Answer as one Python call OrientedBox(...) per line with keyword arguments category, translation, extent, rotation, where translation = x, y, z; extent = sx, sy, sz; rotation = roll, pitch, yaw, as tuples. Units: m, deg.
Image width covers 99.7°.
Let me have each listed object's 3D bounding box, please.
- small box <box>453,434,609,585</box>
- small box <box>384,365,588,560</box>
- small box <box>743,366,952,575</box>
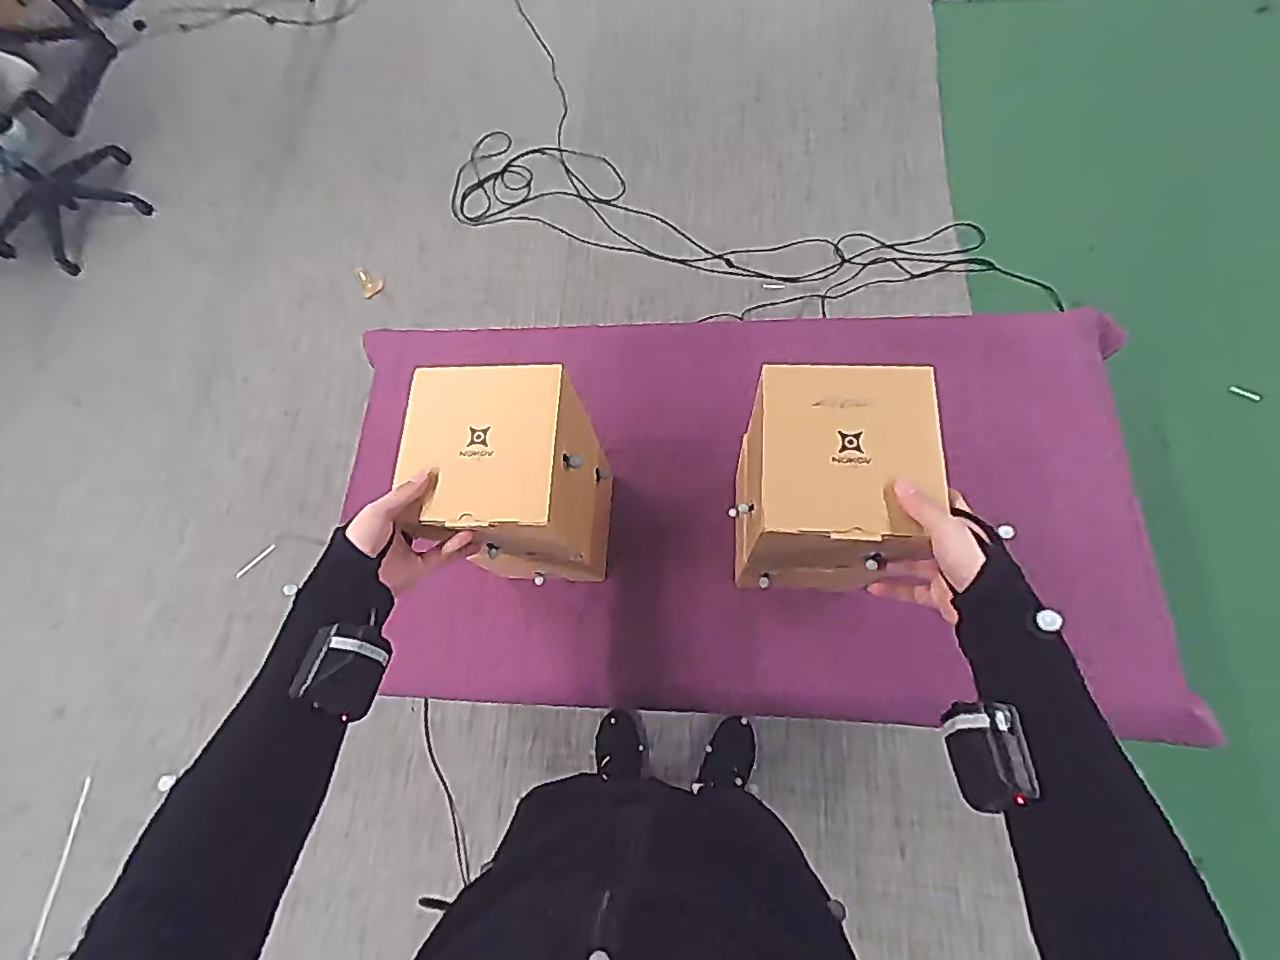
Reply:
OrientedBox(category="small box", translation=(-0.141, 0.045, 0.767), extent=(0.168, 0.176, 0.179), rotation=(2, 71, 7))
OrientedBox(category="small box", translation=(-0.156, -0.012, 0.616), extent=(0.168, 0.176, 0.179), rotation=(0, 72, 6))
OrientedBox(category="small box", translation=(0.202, -0.001, 0.573), extent=(0.168, 0.176, 0.179), rotation=(3, 70, 6))
